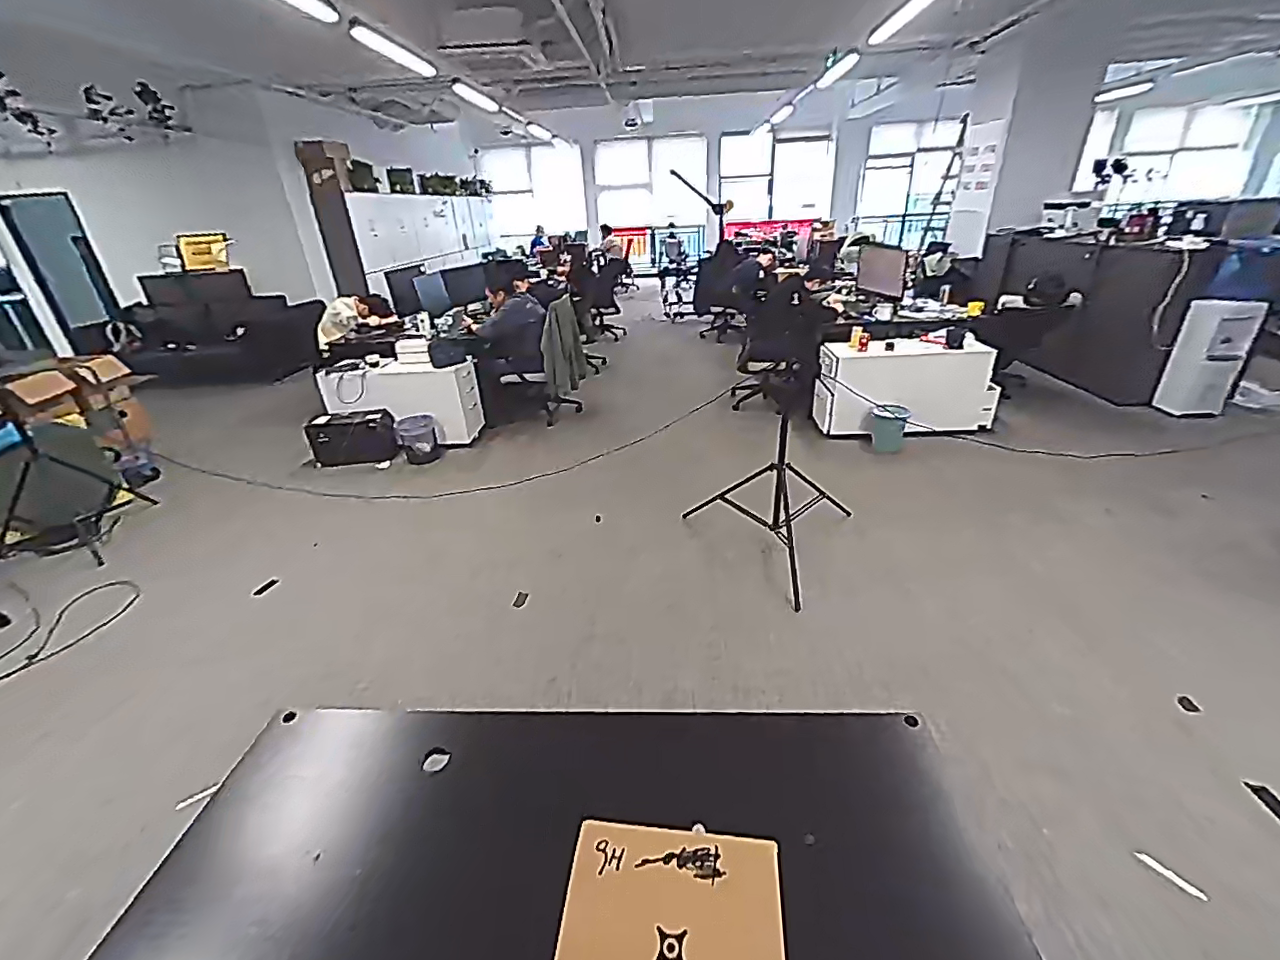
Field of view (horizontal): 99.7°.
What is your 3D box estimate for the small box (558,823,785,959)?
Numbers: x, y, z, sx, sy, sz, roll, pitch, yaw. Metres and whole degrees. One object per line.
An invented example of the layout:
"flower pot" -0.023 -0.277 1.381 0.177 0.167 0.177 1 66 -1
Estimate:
"small box" 0.028 0.411 0.430 0.168 0.176 0.179 1 35 8
